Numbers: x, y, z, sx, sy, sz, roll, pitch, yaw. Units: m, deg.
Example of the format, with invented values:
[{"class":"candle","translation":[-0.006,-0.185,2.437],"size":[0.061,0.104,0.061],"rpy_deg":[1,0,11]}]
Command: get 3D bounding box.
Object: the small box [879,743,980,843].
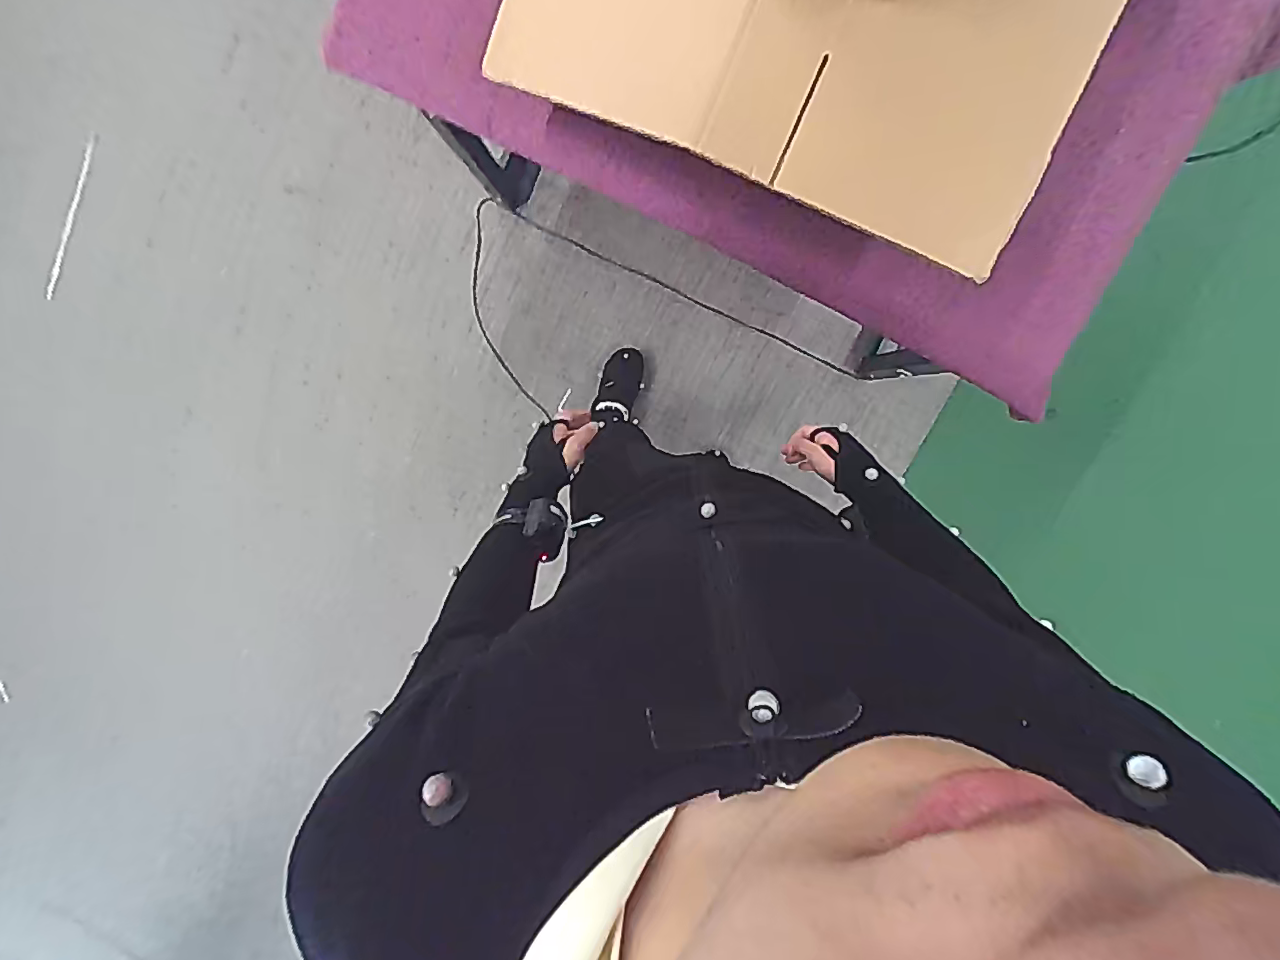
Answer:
[{"class":"small box","translation":[0.873,0.943,1.647],"size":[0.179,0.176,0.168],"rpy_deg":[30,99,-2]}]
